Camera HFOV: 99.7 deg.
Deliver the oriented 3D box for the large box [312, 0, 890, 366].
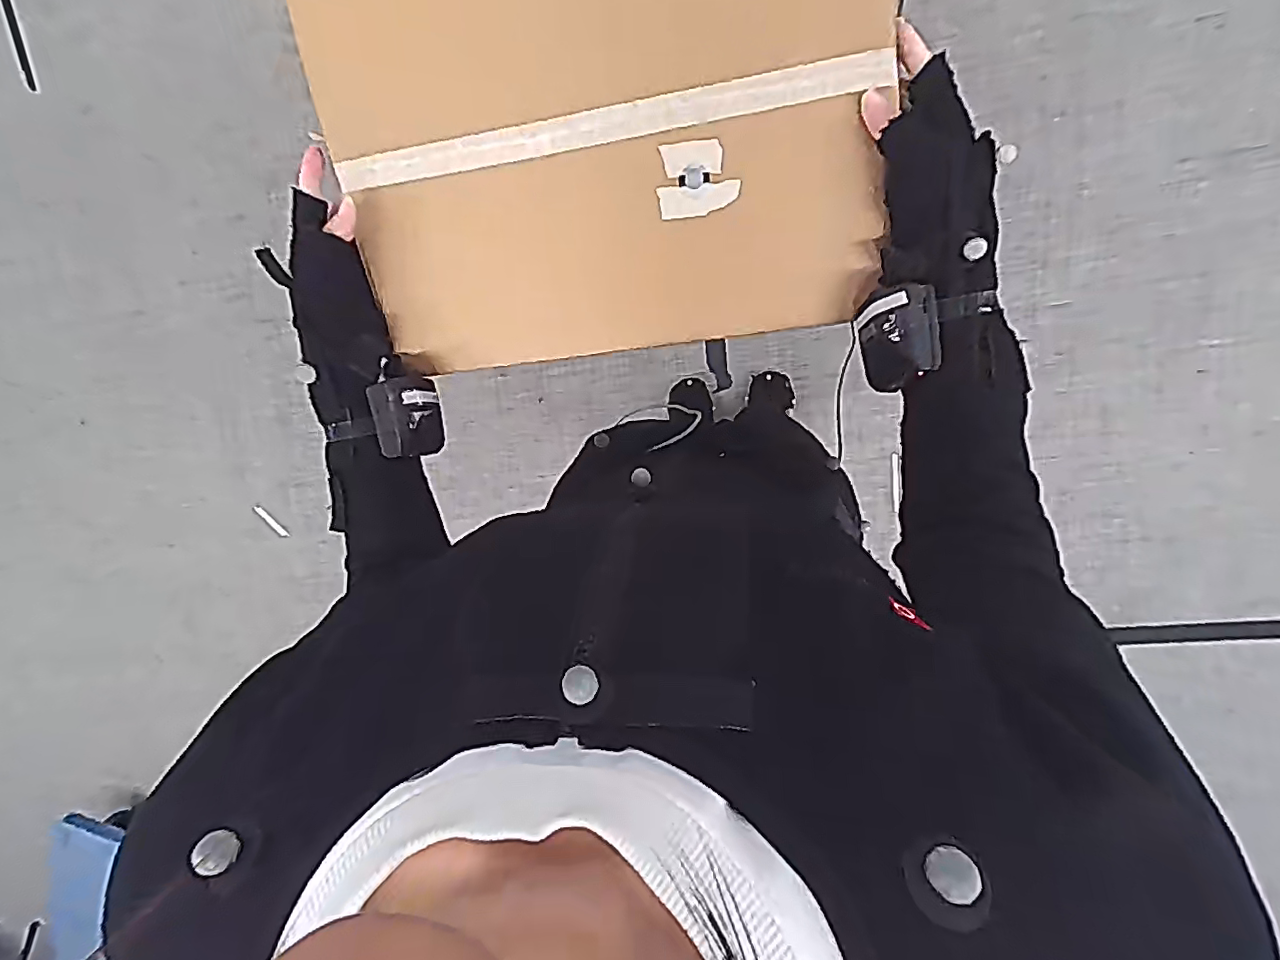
[{"bbox_3d":[-0.012,-0.314,0.536,0.408,0.320,0.320,-6,110,8],"label":"large box"}]
